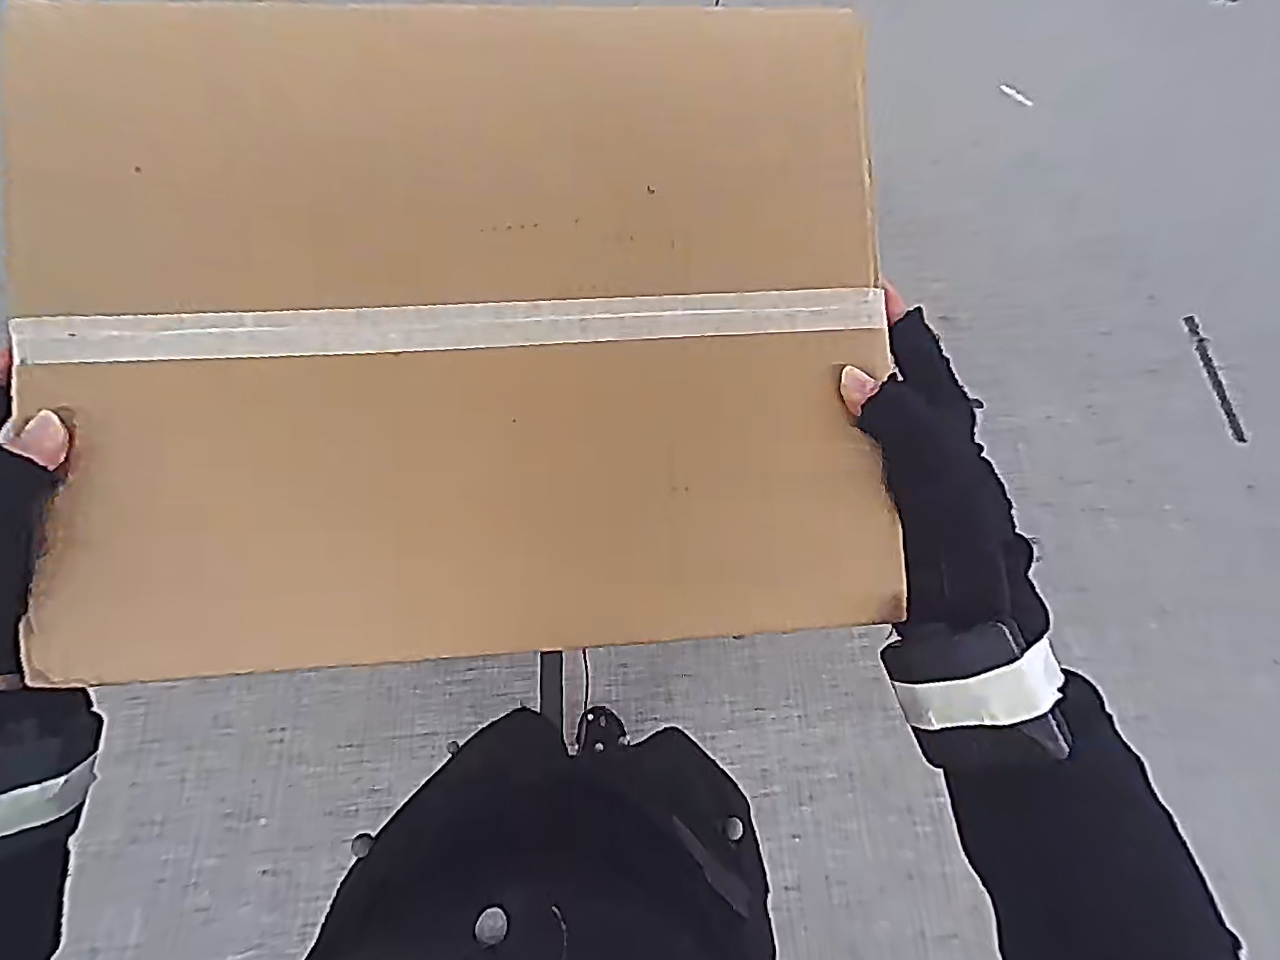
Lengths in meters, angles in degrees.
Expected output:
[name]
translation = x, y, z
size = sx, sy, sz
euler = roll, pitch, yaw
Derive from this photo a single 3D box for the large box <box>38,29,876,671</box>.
[large box]
translation = -0.090, -0.072, 0.419
size = 0.408, 0.320, 0.320
euler = -3, 88, -4
